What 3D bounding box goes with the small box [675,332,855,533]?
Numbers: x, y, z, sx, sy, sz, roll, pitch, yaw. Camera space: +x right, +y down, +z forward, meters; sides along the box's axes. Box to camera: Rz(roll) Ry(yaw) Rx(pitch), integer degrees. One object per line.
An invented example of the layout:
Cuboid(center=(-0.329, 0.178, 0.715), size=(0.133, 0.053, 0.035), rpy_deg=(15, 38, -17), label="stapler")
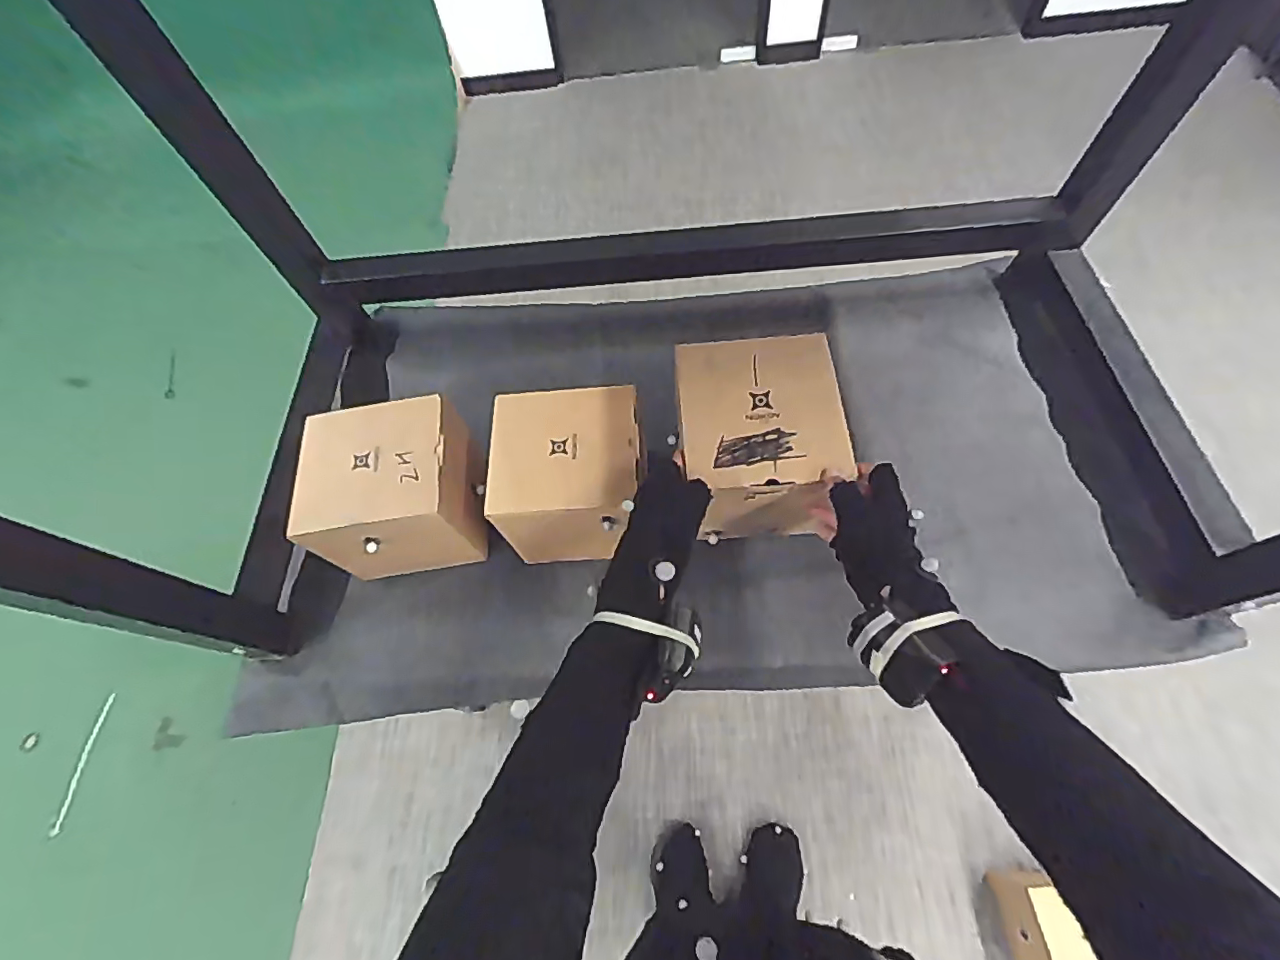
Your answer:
Cuboid(center=(0.129, -0.042, 0.621), size=(0.168, 0.176, 0.179), rpy_deg=(-4, 67, 3), label="small box")
